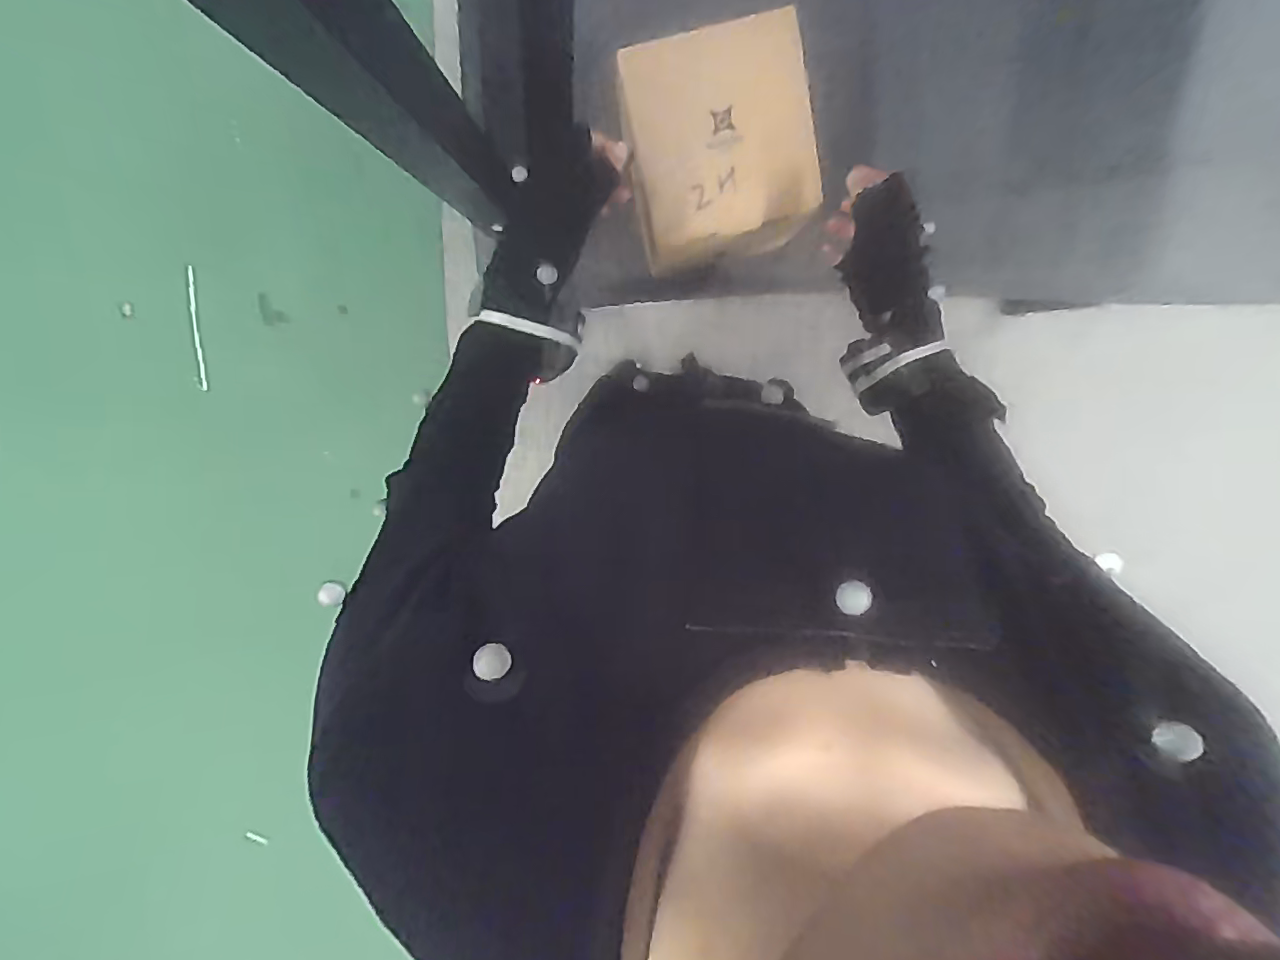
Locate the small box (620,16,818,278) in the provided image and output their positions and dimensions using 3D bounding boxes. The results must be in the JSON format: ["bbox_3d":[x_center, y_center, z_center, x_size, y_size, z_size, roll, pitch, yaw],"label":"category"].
[{"bbox_3d":[0.076,-0.337,0.586,0.168,0.176,0.179,-12,101,3],"label":"small box"}]
